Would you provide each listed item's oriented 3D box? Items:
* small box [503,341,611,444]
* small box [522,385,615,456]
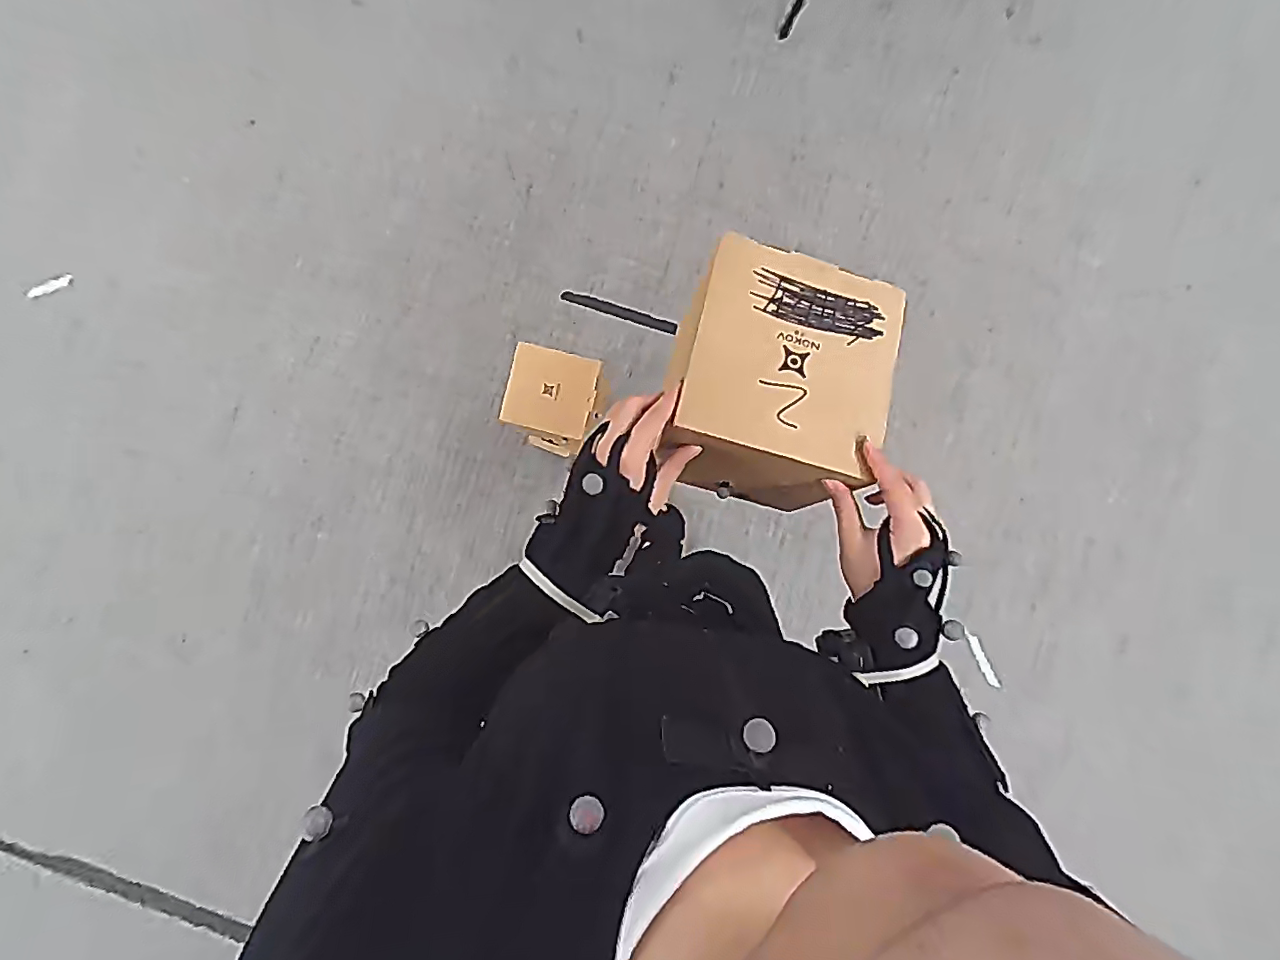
[{"bbox_3d":[-0.169,-0.177,1.153,0.179,0.176,0.168,14,89,1],"label":"small box"},{"bbox_3d":[-0.165,-0.166,1.316,0.168,0.176,0.179,21,89,1],"label":"small box"}]
